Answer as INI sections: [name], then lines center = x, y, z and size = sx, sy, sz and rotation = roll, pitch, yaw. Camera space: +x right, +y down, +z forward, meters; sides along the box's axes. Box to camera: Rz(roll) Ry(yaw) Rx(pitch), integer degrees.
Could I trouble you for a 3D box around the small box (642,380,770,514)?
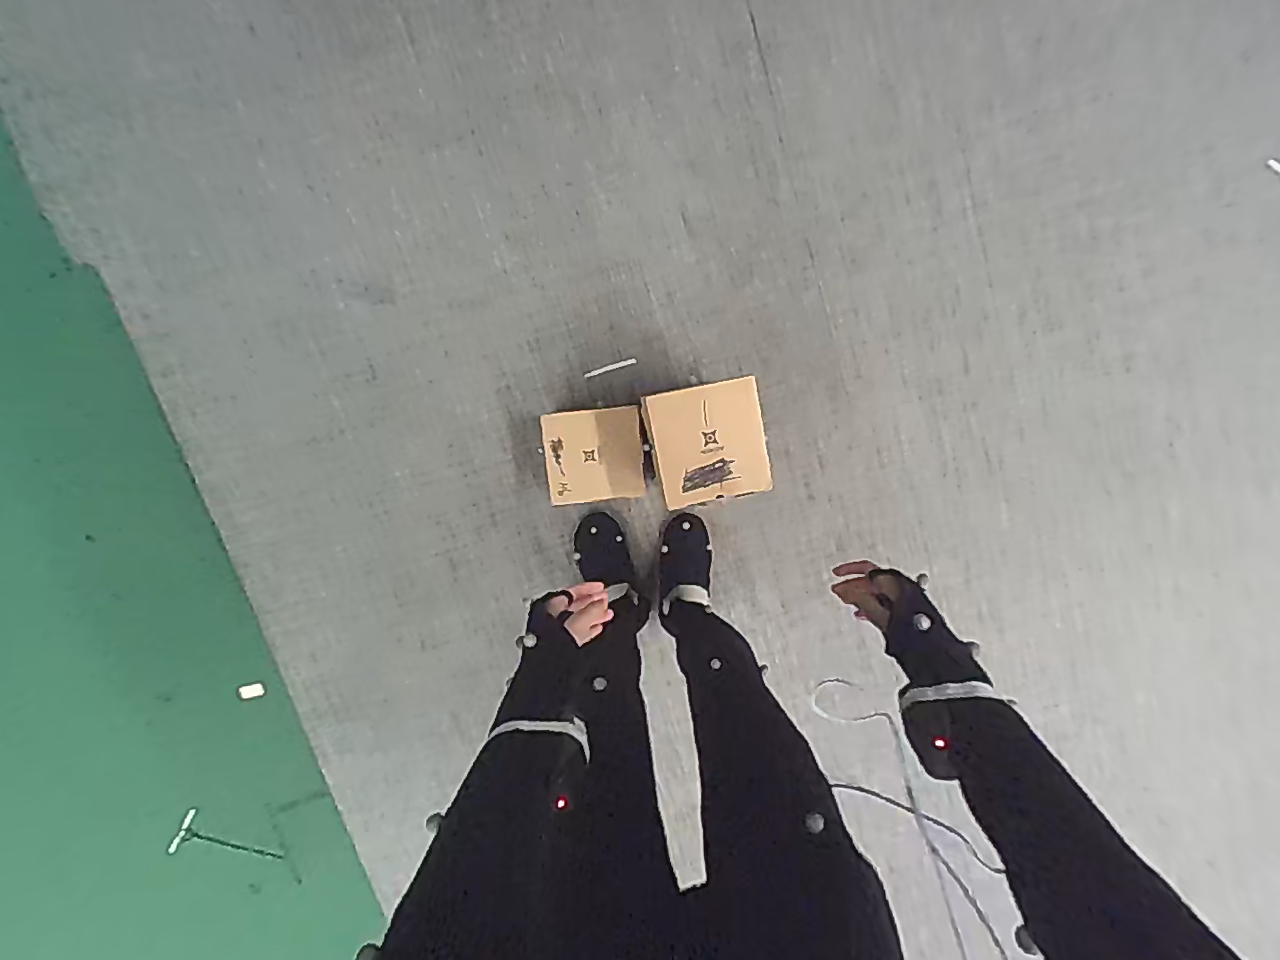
[small box]
center = 0.099, -0.061, 0.875
size = 0.168, 0.176, 0.179
rotation = -12, 99, 0
